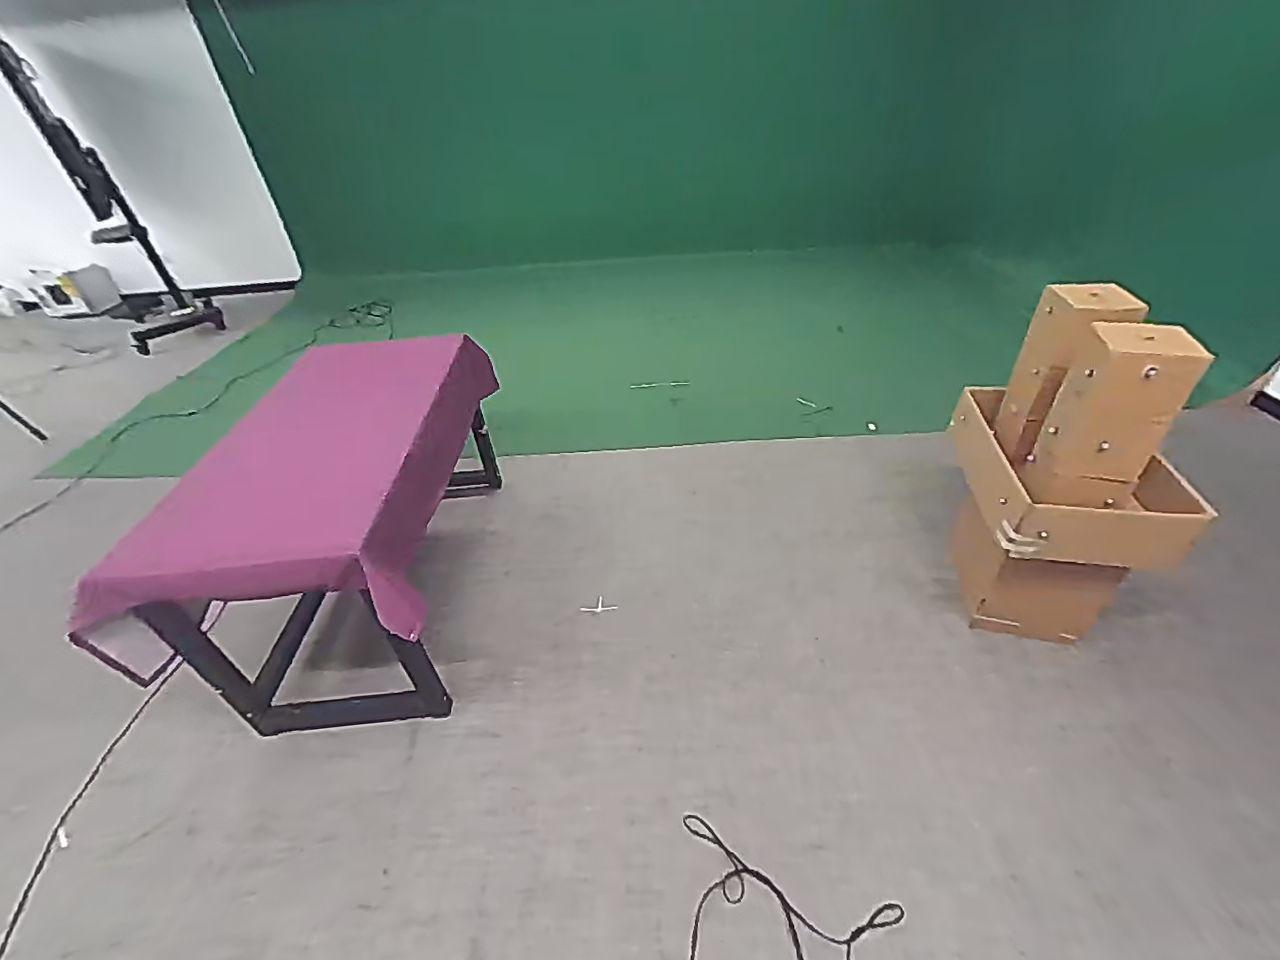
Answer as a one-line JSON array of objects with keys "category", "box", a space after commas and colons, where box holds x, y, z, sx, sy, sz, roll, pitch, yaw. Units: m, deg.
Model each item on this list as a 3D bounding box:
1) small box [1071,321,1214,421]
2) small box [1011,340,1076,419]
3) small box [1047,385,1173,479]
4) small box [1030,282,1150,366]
[{"category": "small box", "box": [1.128, -0.249, 1.238, 0.179, 0.176, 0.168, 9, 40, 17]}, {"category": "small box", "box": [1.207, -0.289, 1.553, 0.168, 0.176, 0.179, 2, 40, 11]}, {"category": "small box", "box": [1.141, -0.119, 1.336, 0.179, 0.176, 0.168, 7, 39, 17]}, {"category": "small box", "box": [1.190, -0.417, 1.450, 0.168, 0.176, 0.179, 1, 39, 11]}]
